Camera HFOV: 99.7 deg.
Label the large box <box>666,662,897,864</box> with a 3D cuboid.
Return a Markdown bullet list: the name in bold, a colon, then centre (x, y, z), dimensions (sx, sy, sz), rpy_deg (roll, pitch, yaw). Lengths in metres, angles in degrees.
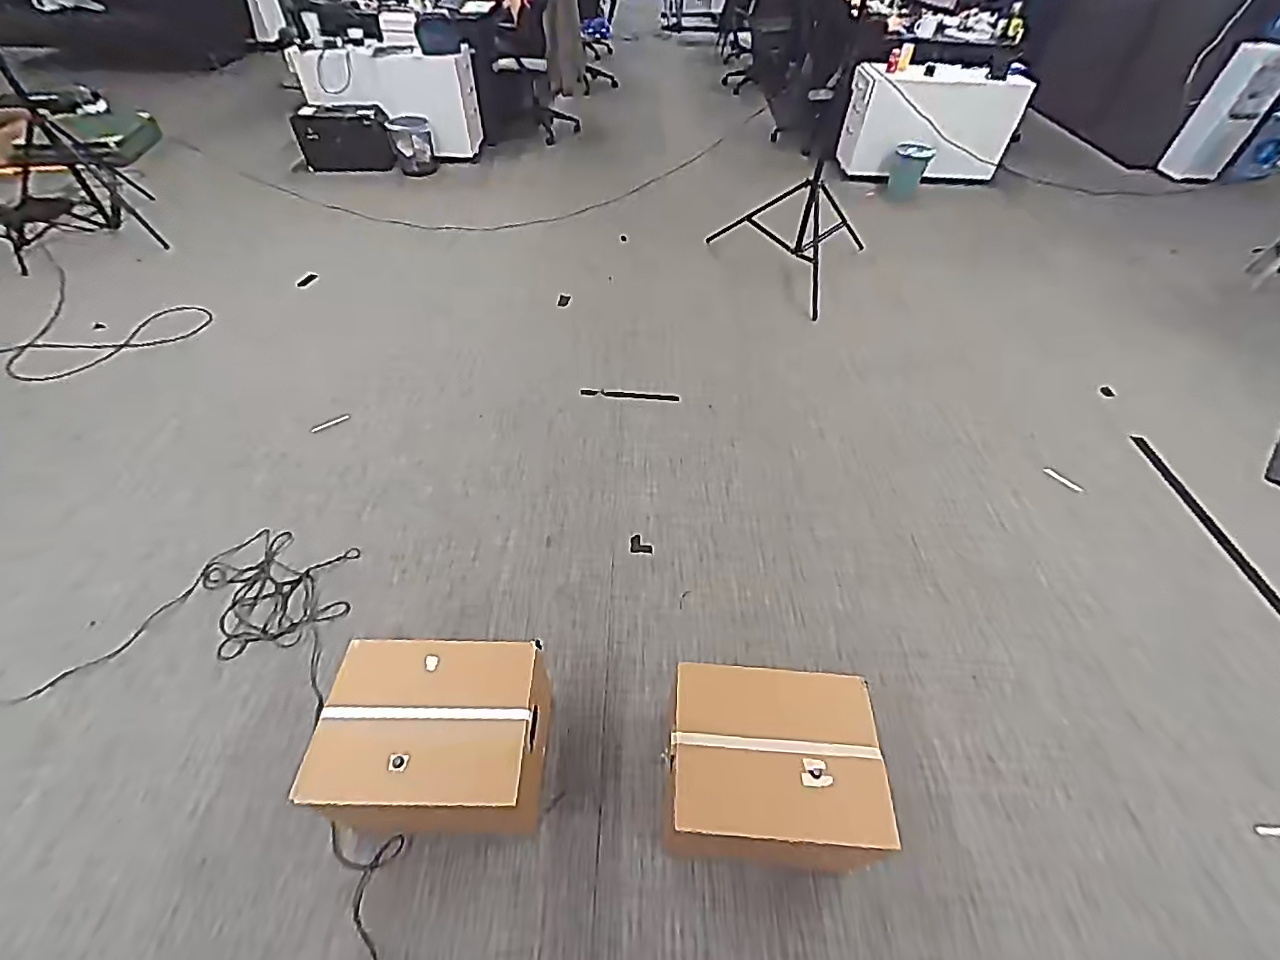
- **large box**: centre (0.267, 0.620, 1.178), dimensions (0.408, 0.320, 0.320), rpy_deg (5, 49, 1)
